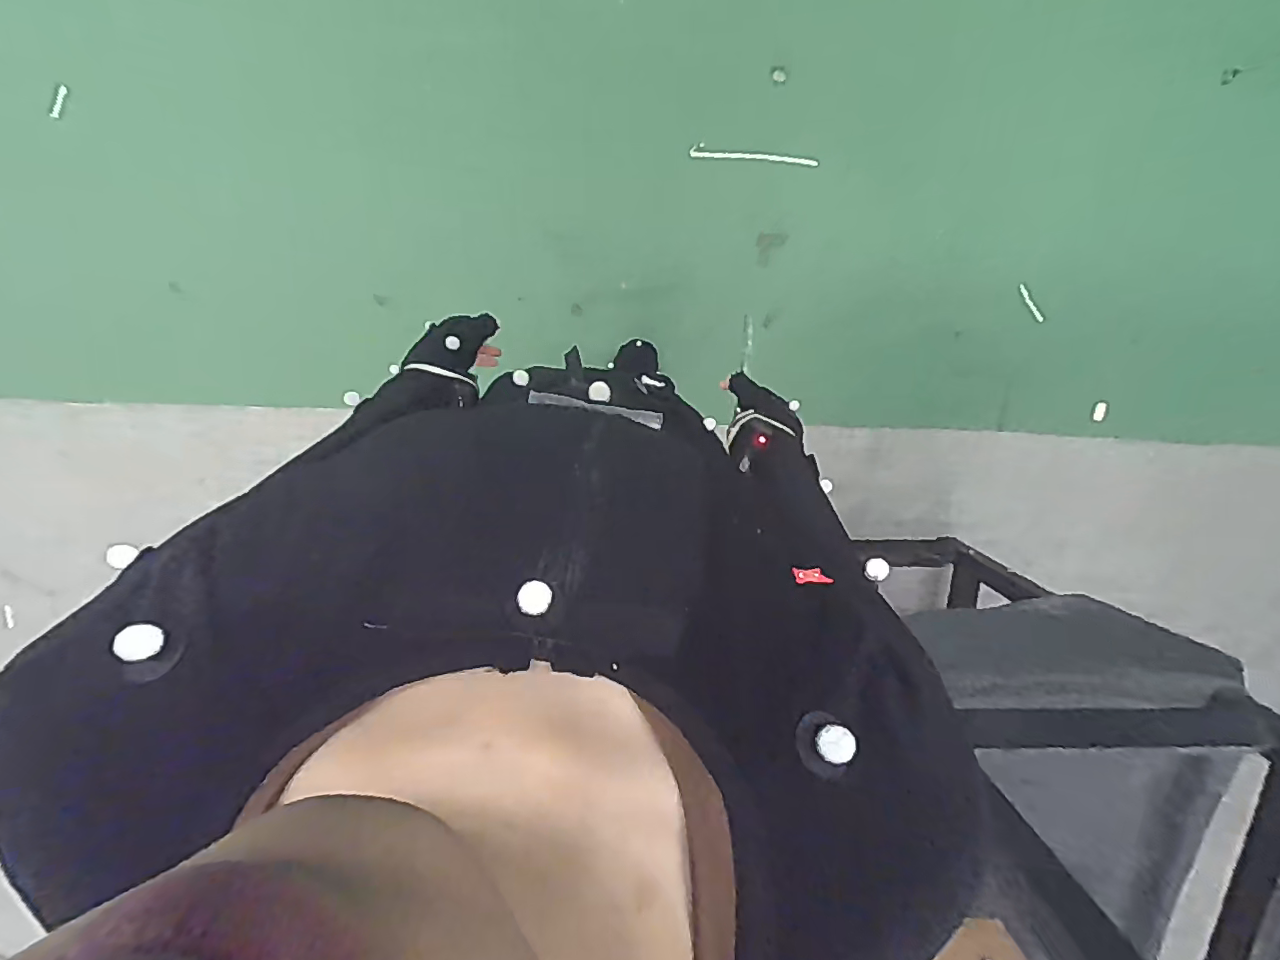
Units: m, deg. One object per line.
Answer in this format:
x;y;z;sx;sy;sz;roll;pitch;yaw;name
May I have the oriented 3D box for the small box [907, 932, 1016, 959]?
0.543;0.876;0.871;0.168;0.176;0.179;4;102;-3;small box
